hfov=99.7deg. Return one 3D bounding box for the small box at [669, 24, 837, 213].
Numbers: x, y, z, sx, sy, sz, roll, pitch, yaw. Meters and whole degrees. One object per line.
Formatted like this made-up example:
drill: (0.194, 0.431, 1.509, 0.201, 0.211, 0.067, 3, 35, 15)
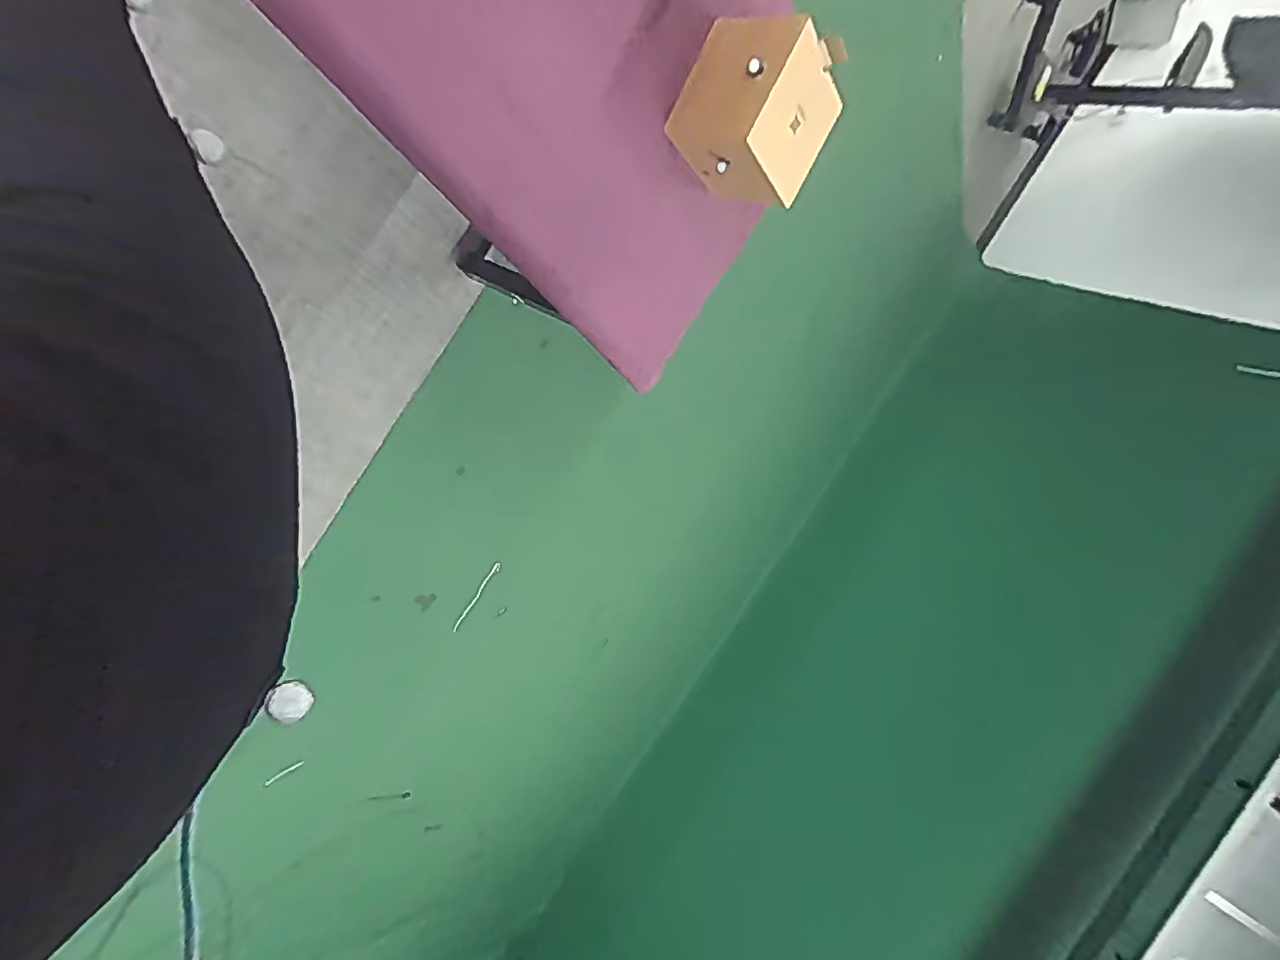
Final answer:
small box: (0.169, -0.553, 0.841, 0.168, 0.176, 0.179, 18, 102, -53)
